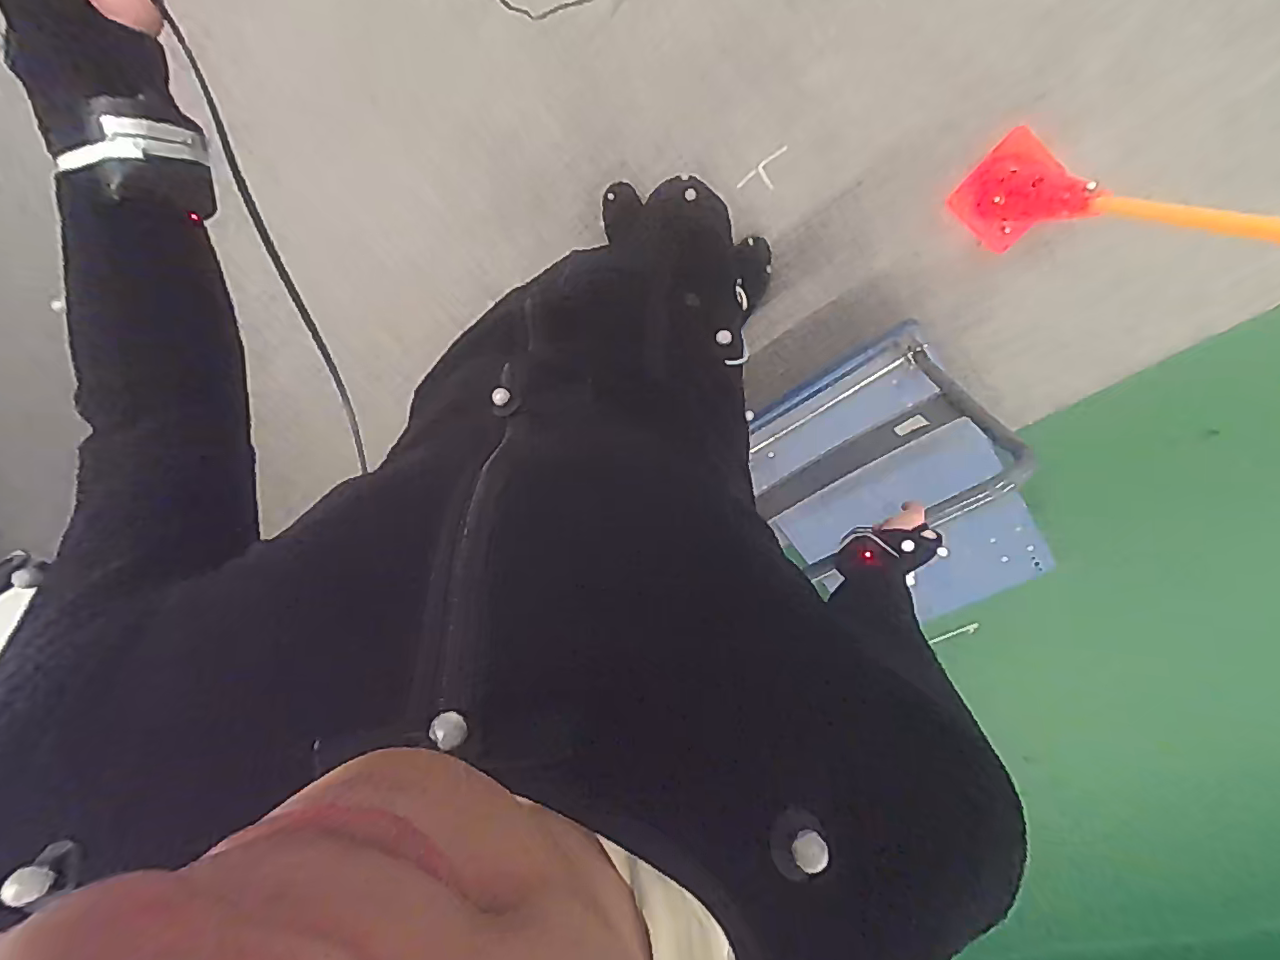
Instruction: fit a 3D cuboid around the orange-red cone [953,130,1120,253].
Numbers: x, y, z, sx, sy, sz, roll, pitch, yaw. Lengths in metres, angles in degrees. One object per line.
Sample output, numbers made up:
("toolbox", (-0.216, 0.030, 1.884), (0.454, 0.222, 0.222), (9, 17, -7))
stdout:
("orange-red cone", (0.833, -0.568, 1.087), (0.198, 0.360, 0.199), (36, 118, -14))
